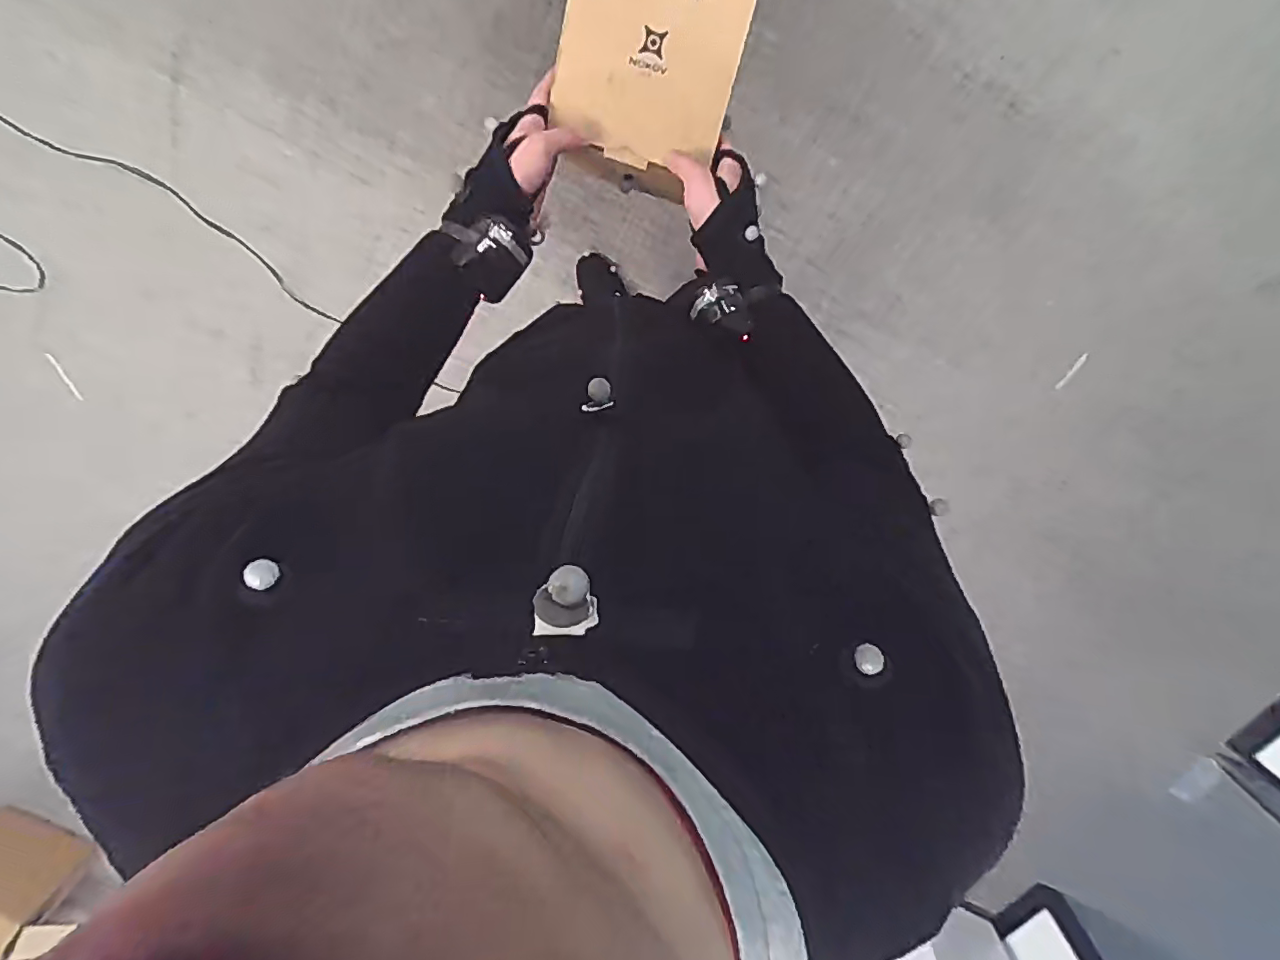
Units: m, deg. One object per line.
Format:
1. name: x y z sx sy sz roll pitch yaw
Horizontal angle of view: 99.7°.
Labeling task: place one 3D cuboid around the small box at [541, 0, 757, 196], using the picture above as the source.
1. small box: 0.010 -0.413 0.554 0.168 0.176 0.179 15 109 -5
